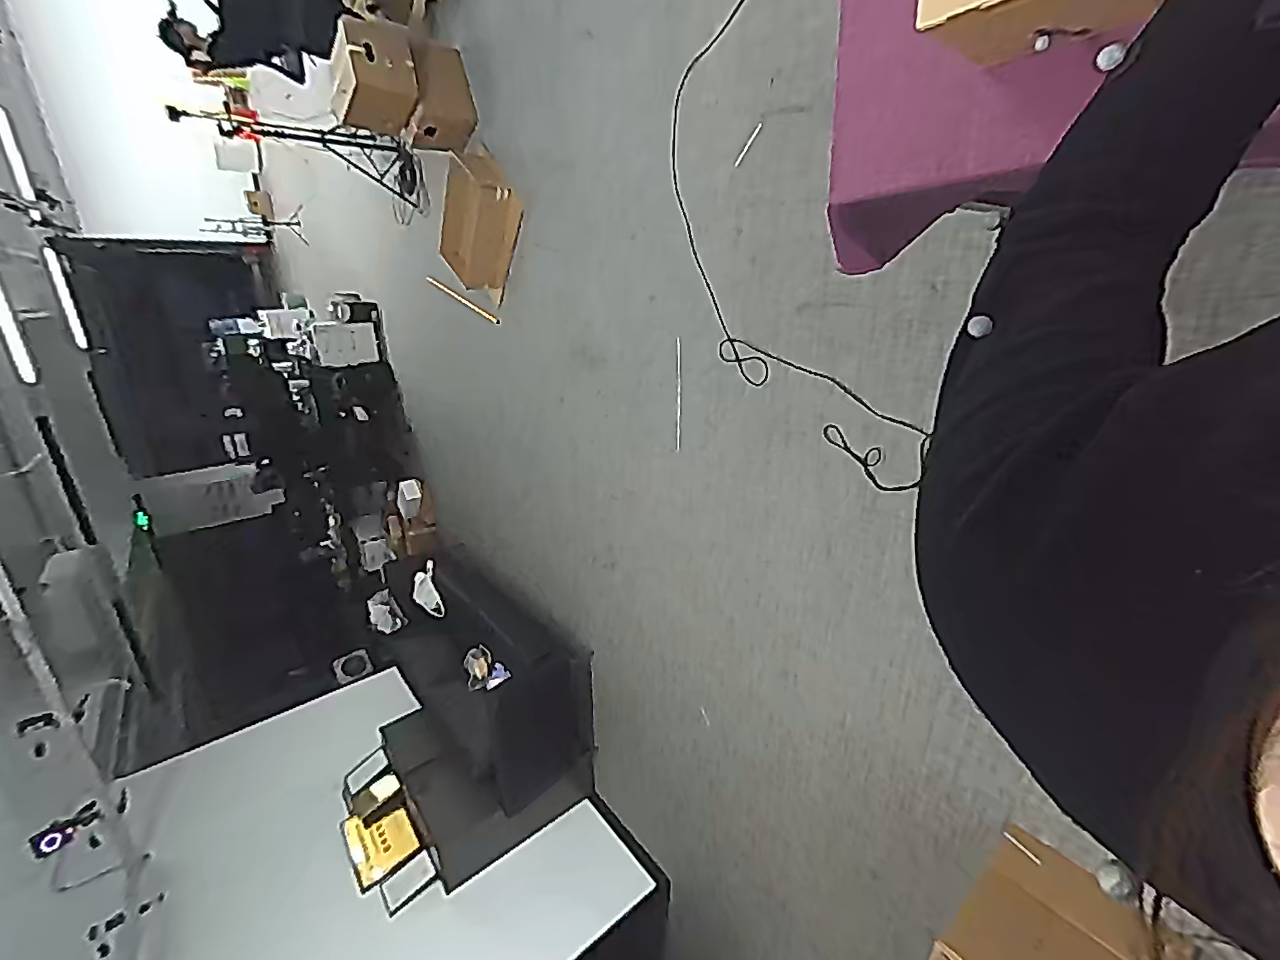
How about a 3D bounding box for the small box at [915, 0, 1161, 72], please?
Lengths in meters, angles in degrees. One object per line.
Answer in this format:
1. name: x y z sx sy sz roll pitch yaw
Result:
1. small box: 0.394 -0.532 0.515 0.168 0.176 0.179 21 119 47
